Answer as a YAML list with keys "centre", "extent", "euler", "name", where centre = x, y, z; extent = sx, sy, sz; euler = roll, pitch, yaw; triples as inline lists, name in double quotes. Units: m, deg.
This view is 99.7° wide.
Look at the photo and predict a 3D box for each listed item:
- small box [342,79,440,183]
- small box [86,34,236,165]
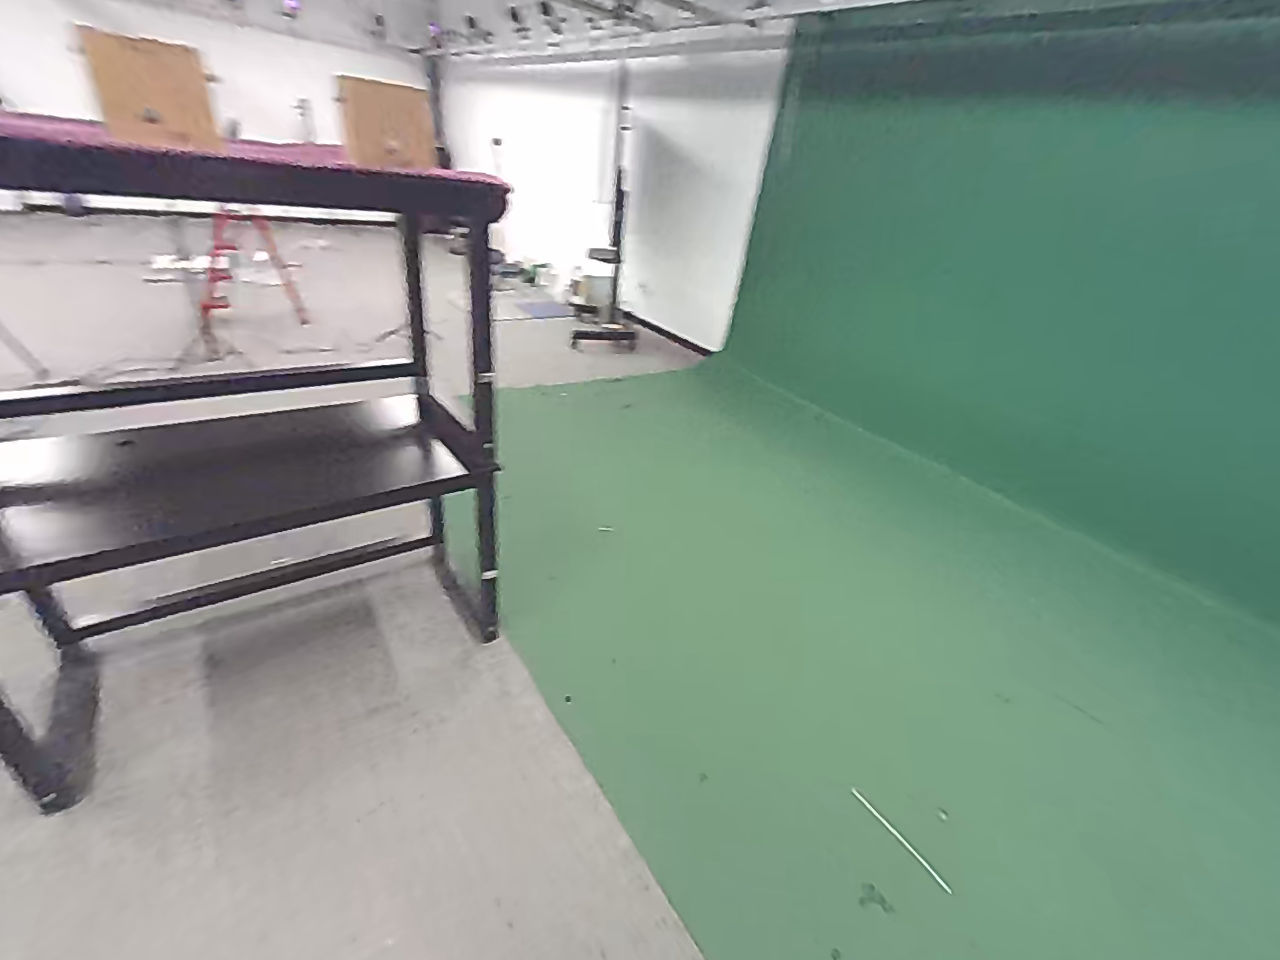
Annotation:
- centre: [-0.556, -0.776, 1.210]
  extent: [0.168, 0.176, 0.179]
  euler: [-12, 37, -29]
  name: "small box"
- centre: [-0.873, -0.695, 1.005]
  extent: [0.168, 0.176, 0.179]
  euler: [-12, 35, -30]
  name: "small box"
